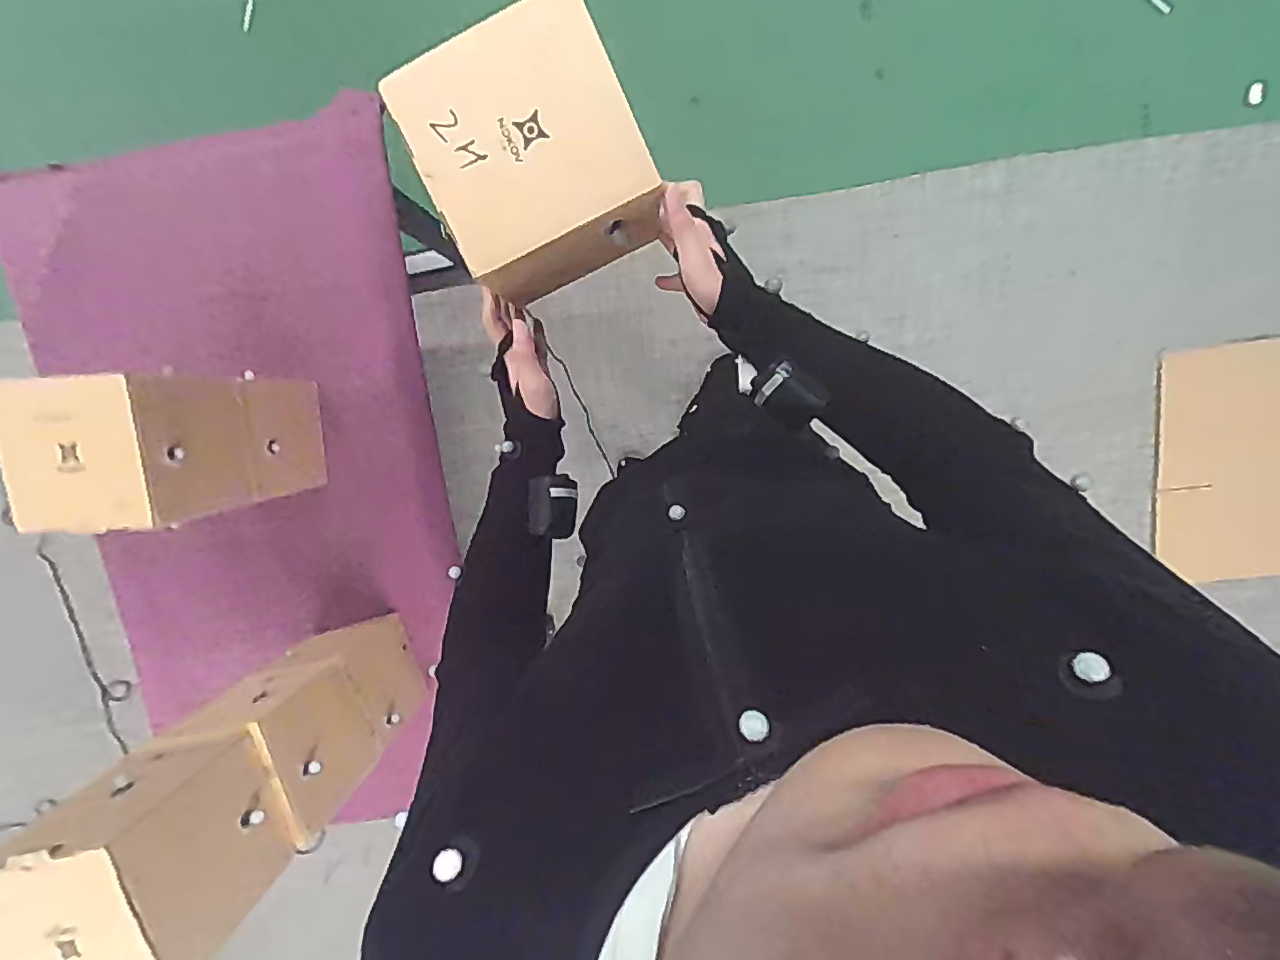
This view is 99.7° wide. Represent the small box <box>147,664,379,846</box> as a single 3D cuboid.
[{"bbox_3d":[-0.498,0.373,0.743,0.168,0.176,0.179,-15,99,6],"label":"small box"}]

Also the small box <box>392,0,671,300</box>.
[{"bbox_3d":[-0.086,-0.290,0.508,0.179,0.176,0.168,-24,98,4],"label":"small box"}]

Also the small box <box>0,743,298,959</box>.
[{"bbox_3d":[-0.520,0.412,0.584,0.168,0.176,0.179,-14,98,6],"label":"small box"}]

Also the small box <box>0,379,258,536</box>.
[{"bbox_3d":[-0.625,-0.036,0.684,0.168,0.176,0.179,-2,99,2],"label":"small box"}]

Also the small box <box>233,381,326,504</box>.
[{"bbox_3d":[-0.621,-0.064,0.844,0.168,0.176,0.179,-1,99,3],"label":"small box"}]
